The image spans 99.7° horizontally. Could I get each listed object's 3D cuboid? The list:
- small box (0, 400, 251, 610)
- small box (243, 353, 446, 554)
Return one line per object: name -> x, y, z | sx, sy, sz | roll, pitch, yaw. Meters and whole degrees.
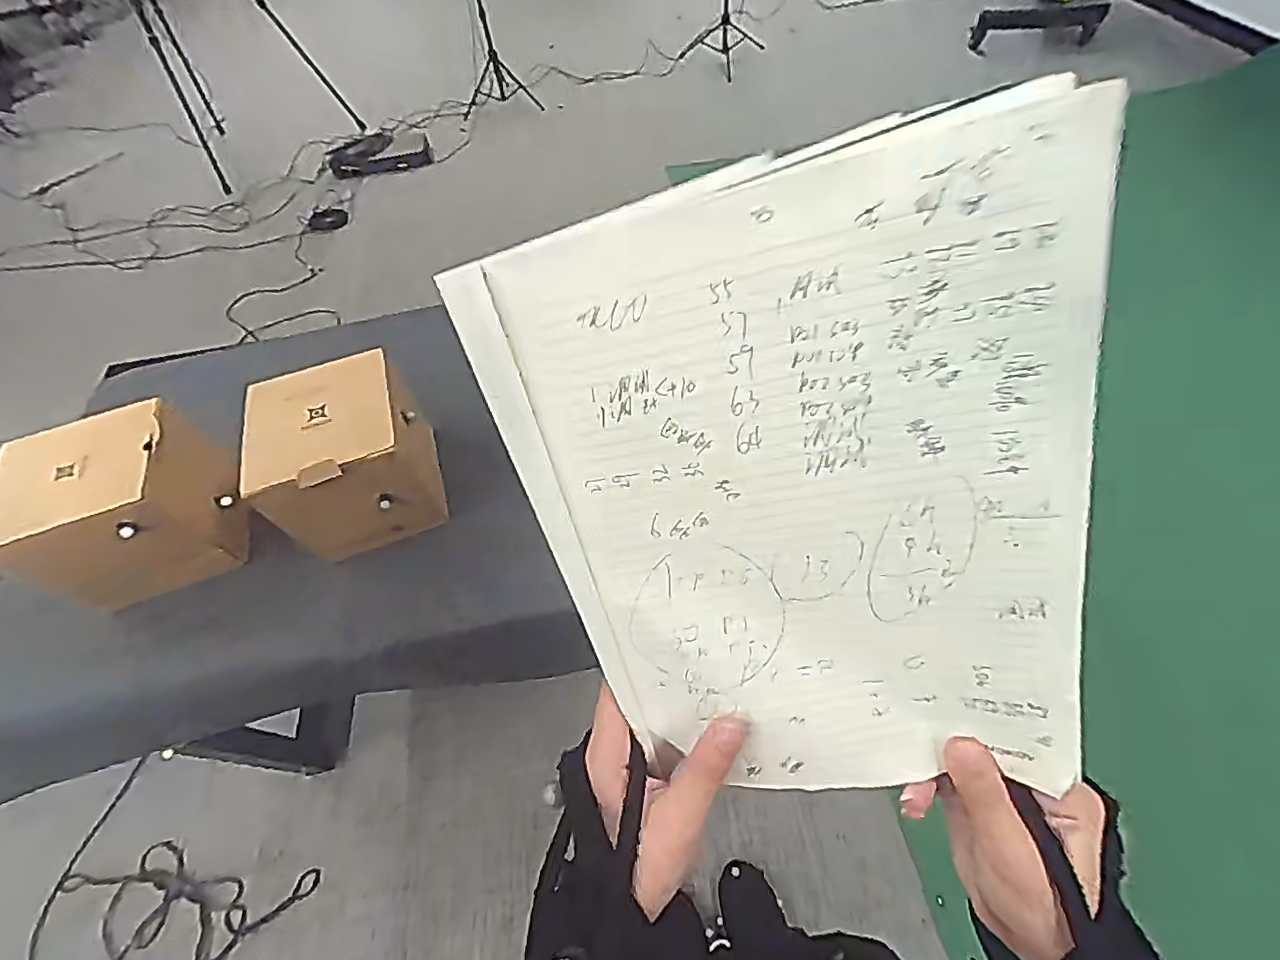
small box -> -0.627, 0.036, 0.672 | 0.179, 0.176, 0.168 | -20, 56, -10
small box -> -0.362, -0.025, 0.688 | 0.168, 0.176, 0.179 | -19, 55, -9
